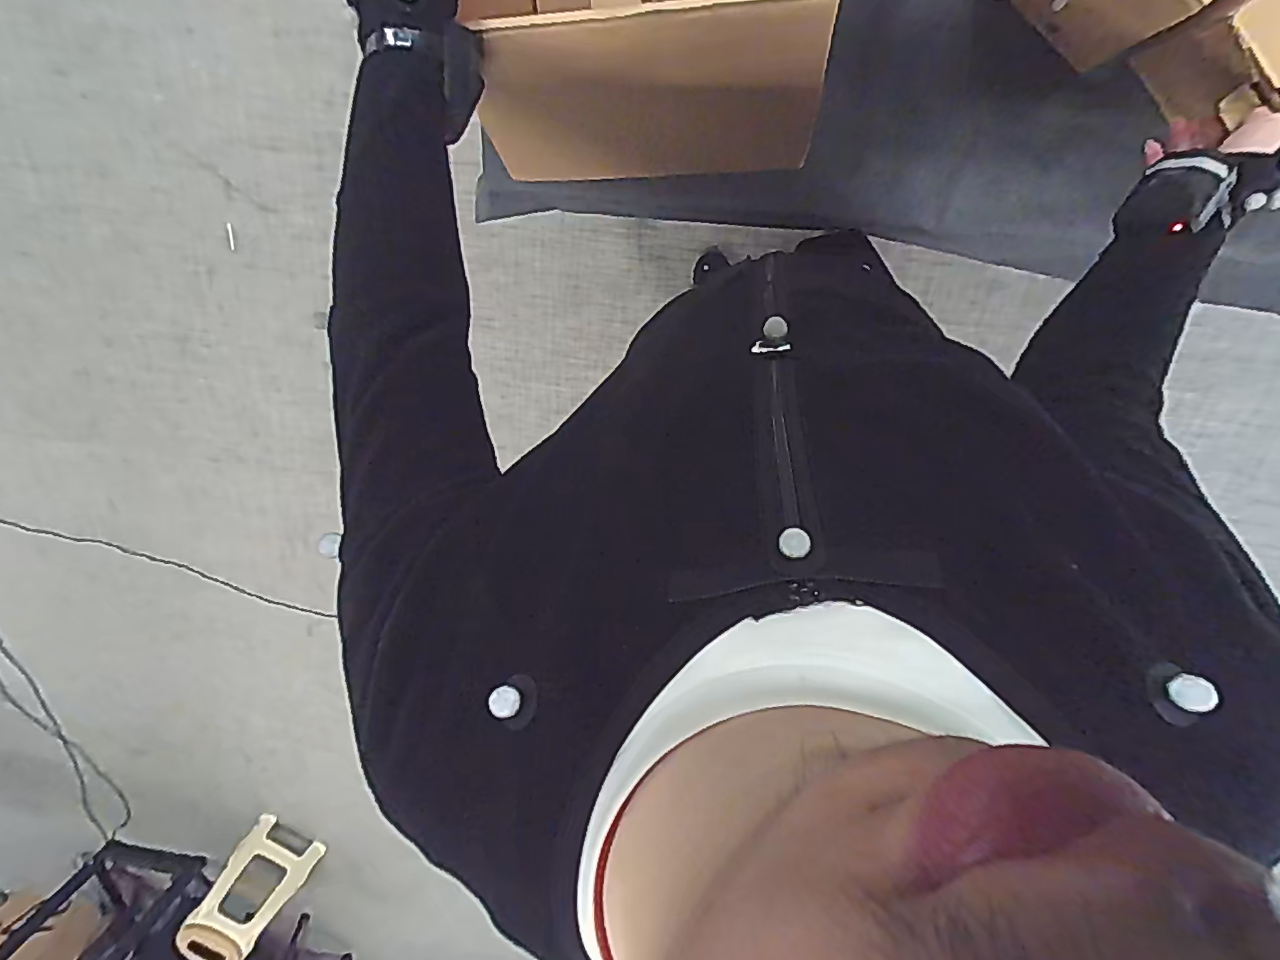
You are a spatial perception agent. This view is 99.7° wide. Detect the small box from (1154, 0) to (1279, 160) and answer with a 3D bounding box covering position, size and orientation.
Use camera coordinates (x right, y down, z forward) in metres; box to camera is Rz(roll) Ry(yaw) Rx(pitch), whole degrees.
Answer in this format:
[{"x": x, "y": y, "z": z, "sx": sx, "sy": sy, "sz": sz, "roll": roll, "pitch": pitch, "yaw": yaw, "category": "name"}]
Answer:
[{"x": 0.619, "y": -0.414, "z": 0.480, "sx": 0.168, "sy": 0.176, "sz": 0.179, "roll": 44, "pitch": 121, "yaw": -10, "category": "small box"}]
